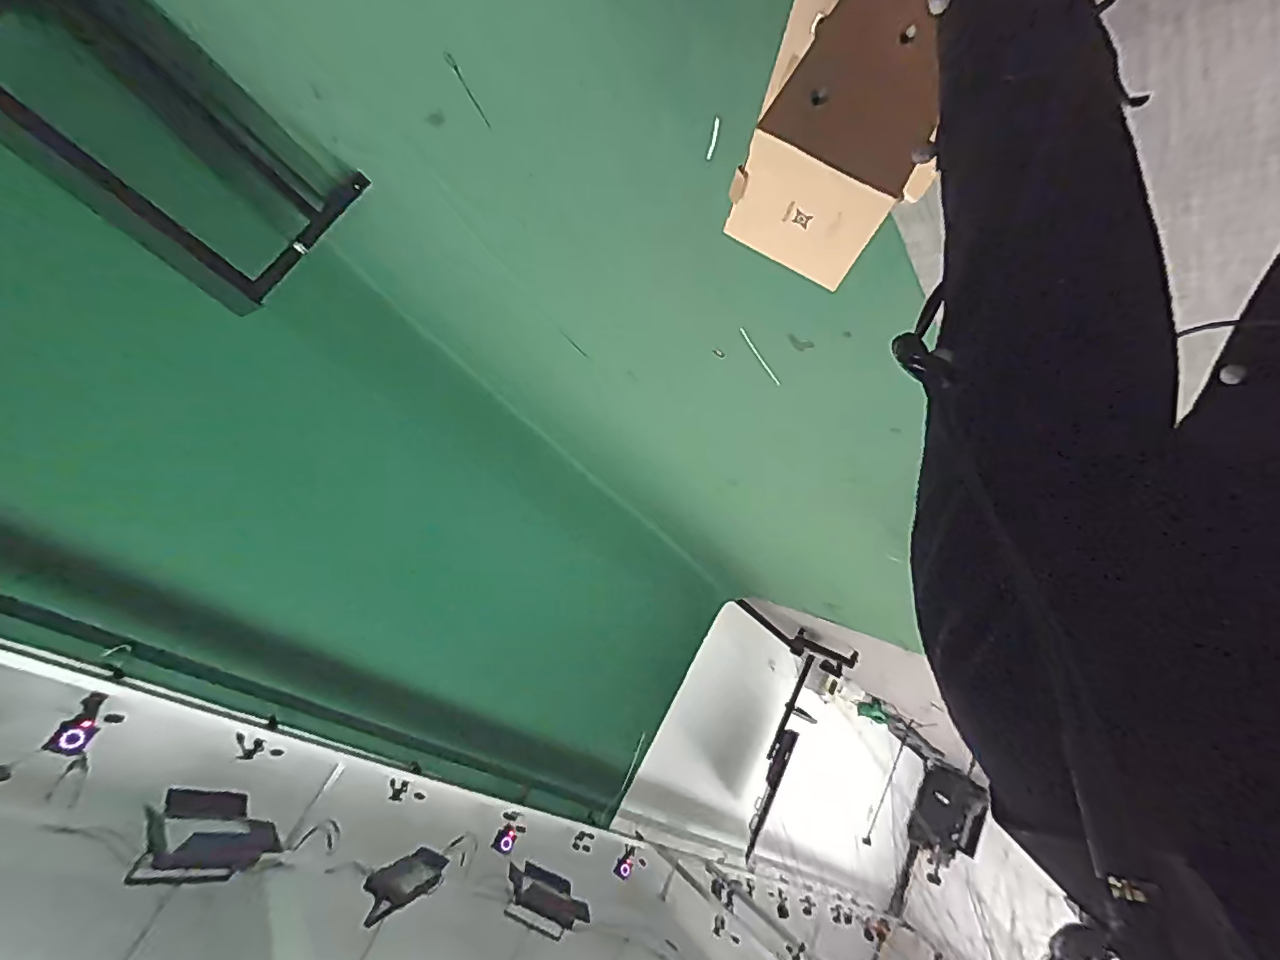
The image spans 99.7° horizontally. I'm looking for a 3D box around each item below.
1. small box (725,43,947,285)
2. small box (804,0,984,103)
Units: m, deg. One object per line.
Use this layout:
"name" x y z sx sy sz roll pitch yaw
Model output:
"small box" 0.237 -0.392 0.677 0.179 0.176 0.168 30 164 4
"small box" 0.312 -0.528 0.727 0.179 0.176 0.168 30 164 1
